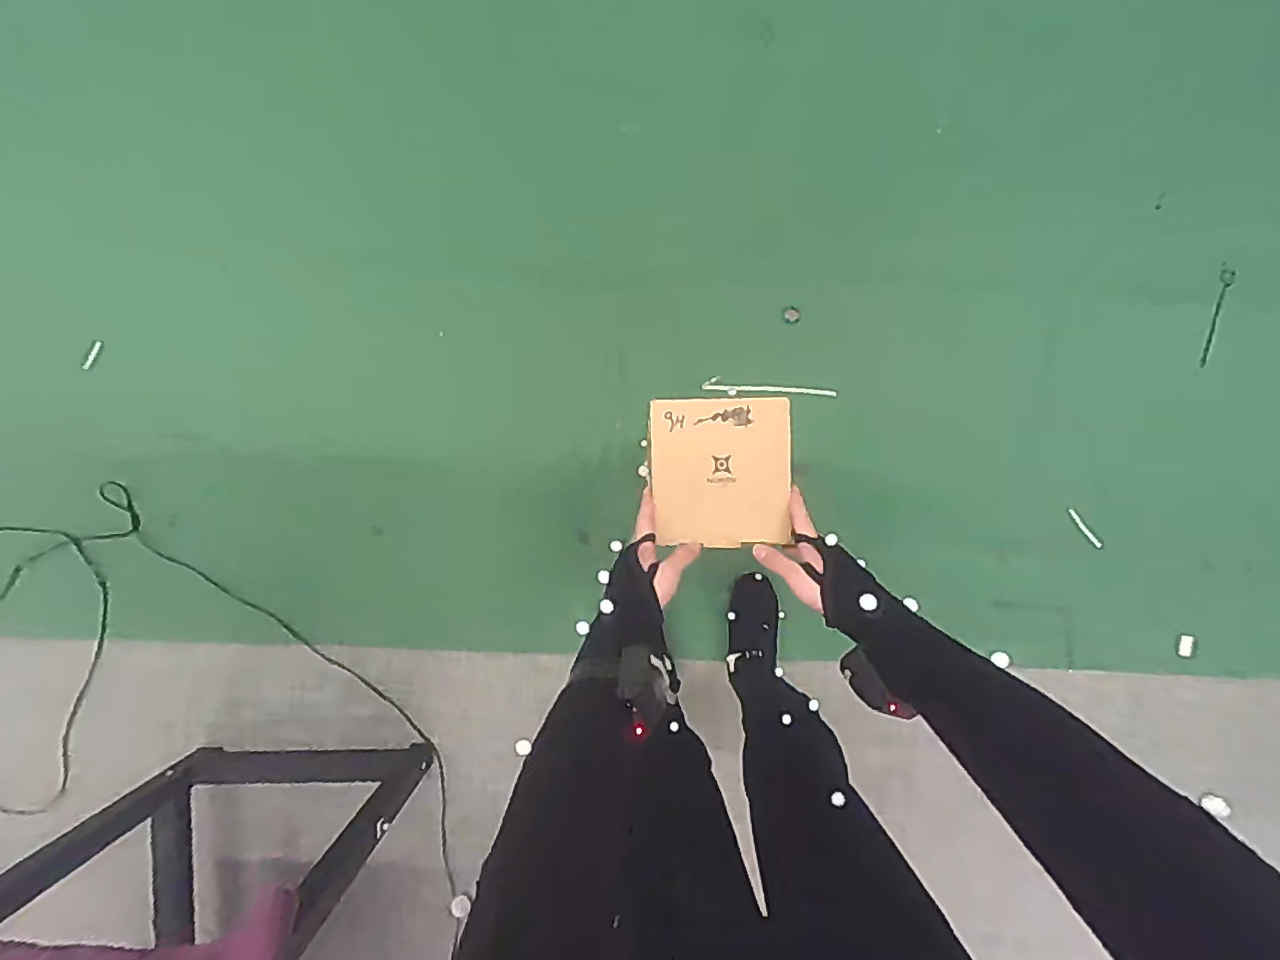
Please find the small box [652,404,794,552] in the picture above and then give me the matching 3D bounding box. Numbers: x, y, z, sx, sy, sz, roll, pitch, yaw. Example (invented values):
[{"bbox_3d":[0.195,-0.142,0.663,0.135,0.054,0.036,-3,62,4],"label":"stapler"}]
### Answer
[{"bbox_3d":[0.101,-0.005,0.717,0.168,0.176,0.179,-1,92,1],"label":"small box"}]
